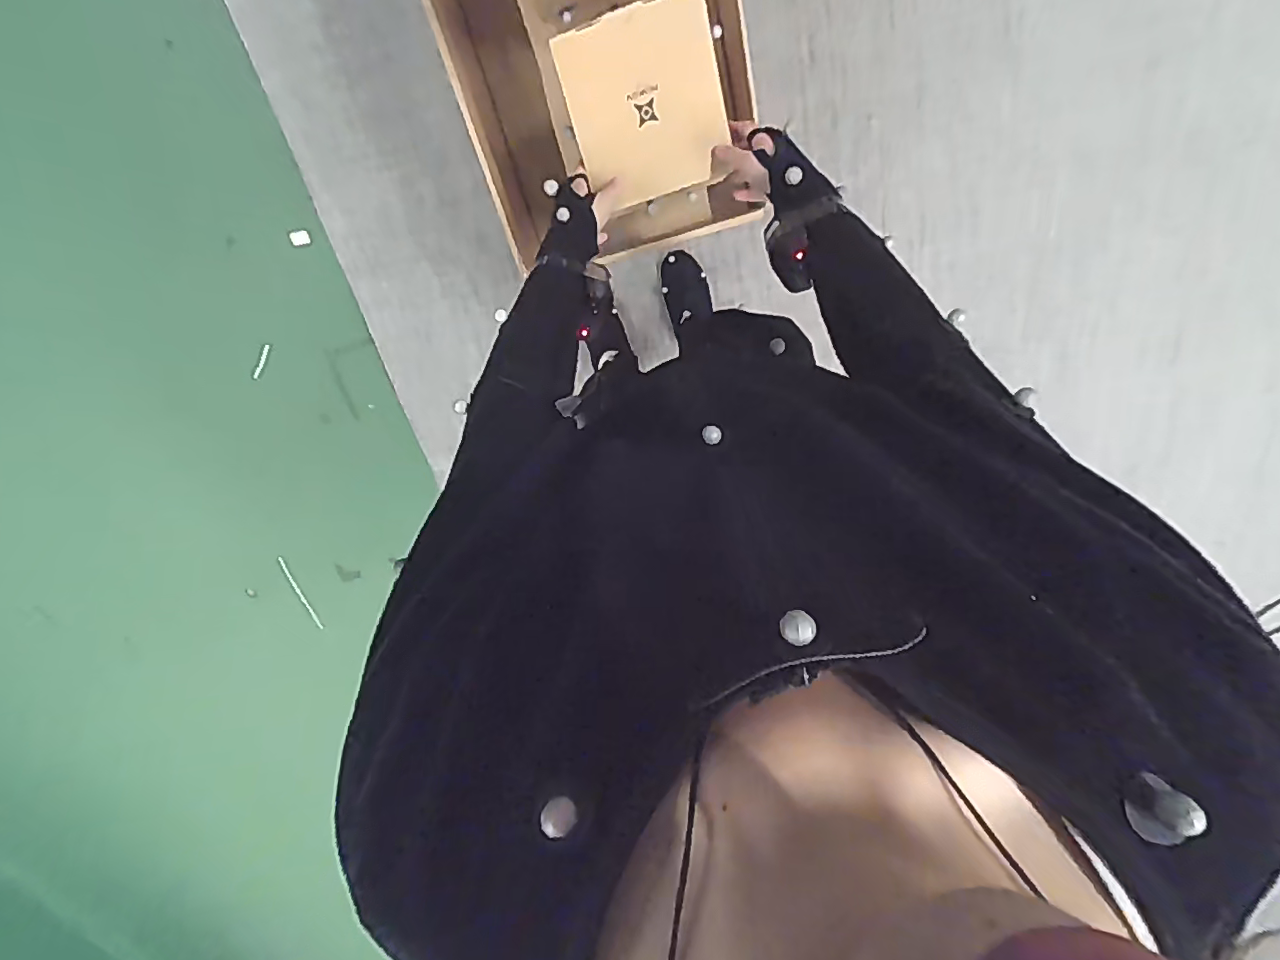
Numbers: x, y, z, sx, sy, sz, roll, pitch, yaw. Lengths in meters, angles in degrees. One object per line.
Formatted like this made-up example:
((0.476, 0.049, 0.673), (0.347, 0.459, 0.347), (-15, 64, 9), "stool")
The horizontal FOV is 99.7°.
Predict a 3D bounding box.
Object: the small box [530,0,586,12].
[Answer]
((-0.076, -0.634, 0.565), (0.168, 0.176, 0.179), (-17, 117, 12), "small box")

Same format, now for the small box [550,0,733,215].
((0.011, -0.437, 0.655), (0.168, 0.176, 0.179), (-14, 113, 9), "small box")
